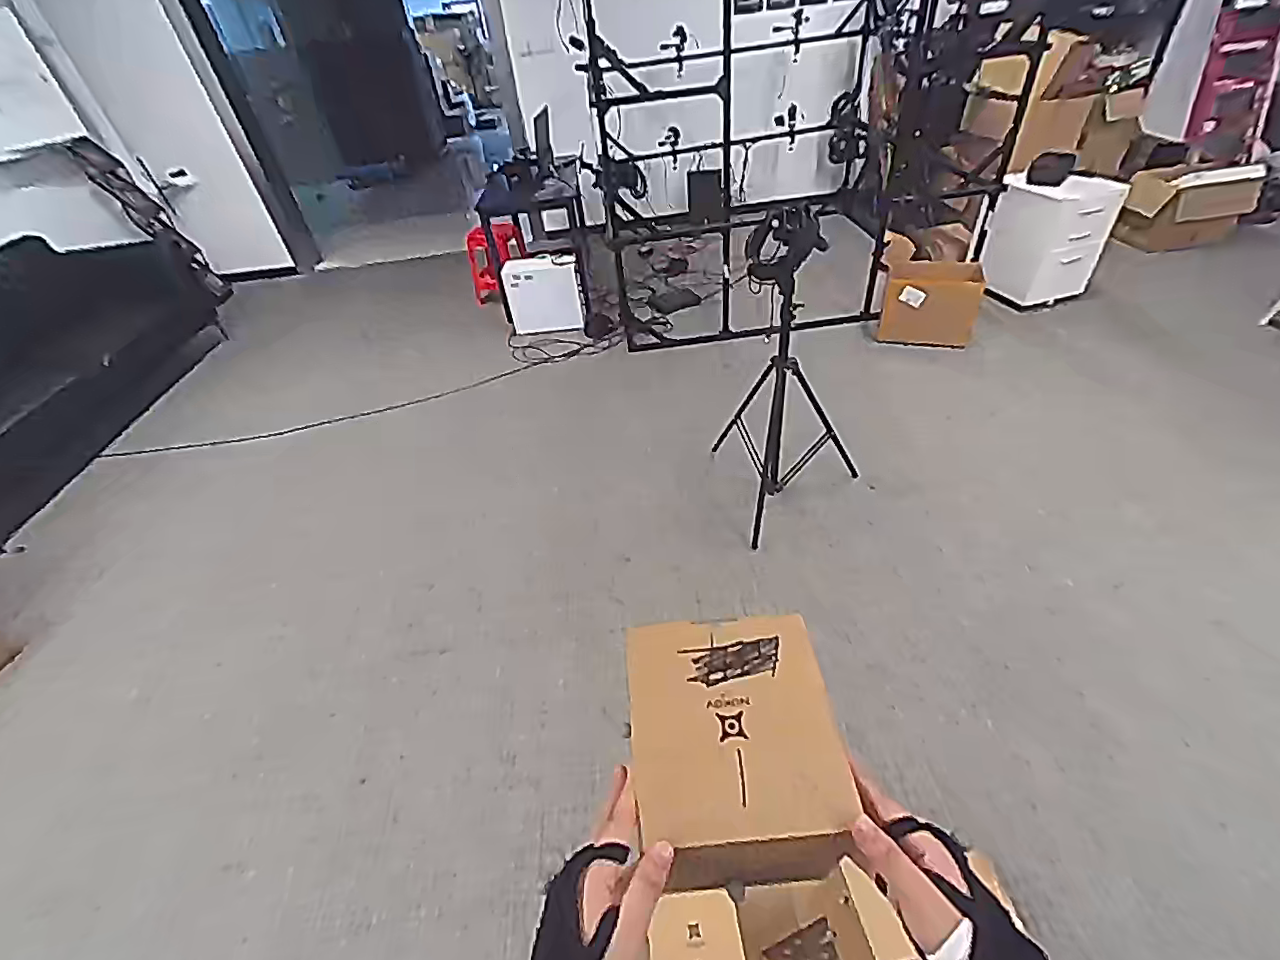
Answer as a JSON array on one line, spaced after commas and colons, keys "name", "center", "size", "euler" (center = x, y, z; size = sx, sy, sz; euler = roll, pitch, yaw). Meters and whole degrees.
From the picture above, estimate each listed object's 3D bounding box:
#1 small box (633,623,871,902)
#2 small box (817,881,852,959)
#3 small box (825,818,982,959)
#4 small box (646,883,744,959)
[{"name": "small box", "center": [0.080, 0.255, 0.495], "size": [0.168, 0.176, 0.179], "euler": [-4, 43, -1]}, {"name": "small box", "center": [0.450, 0.834, 1.019], "size": [0.168, 0.176, 0.179], "euler": [-8, 41, -2]}, {"name": "small box", "center": [0.425, 0.712, 0.914], "size": [0.168, 0.176, 0.179], "euler": [-11, 41, -3]}, {"name": "small box", "center": [0.103, 0.877, 1.015], "size": [0.168, 0.176, 0.179], "euler": [-7, 40, -1]}]
